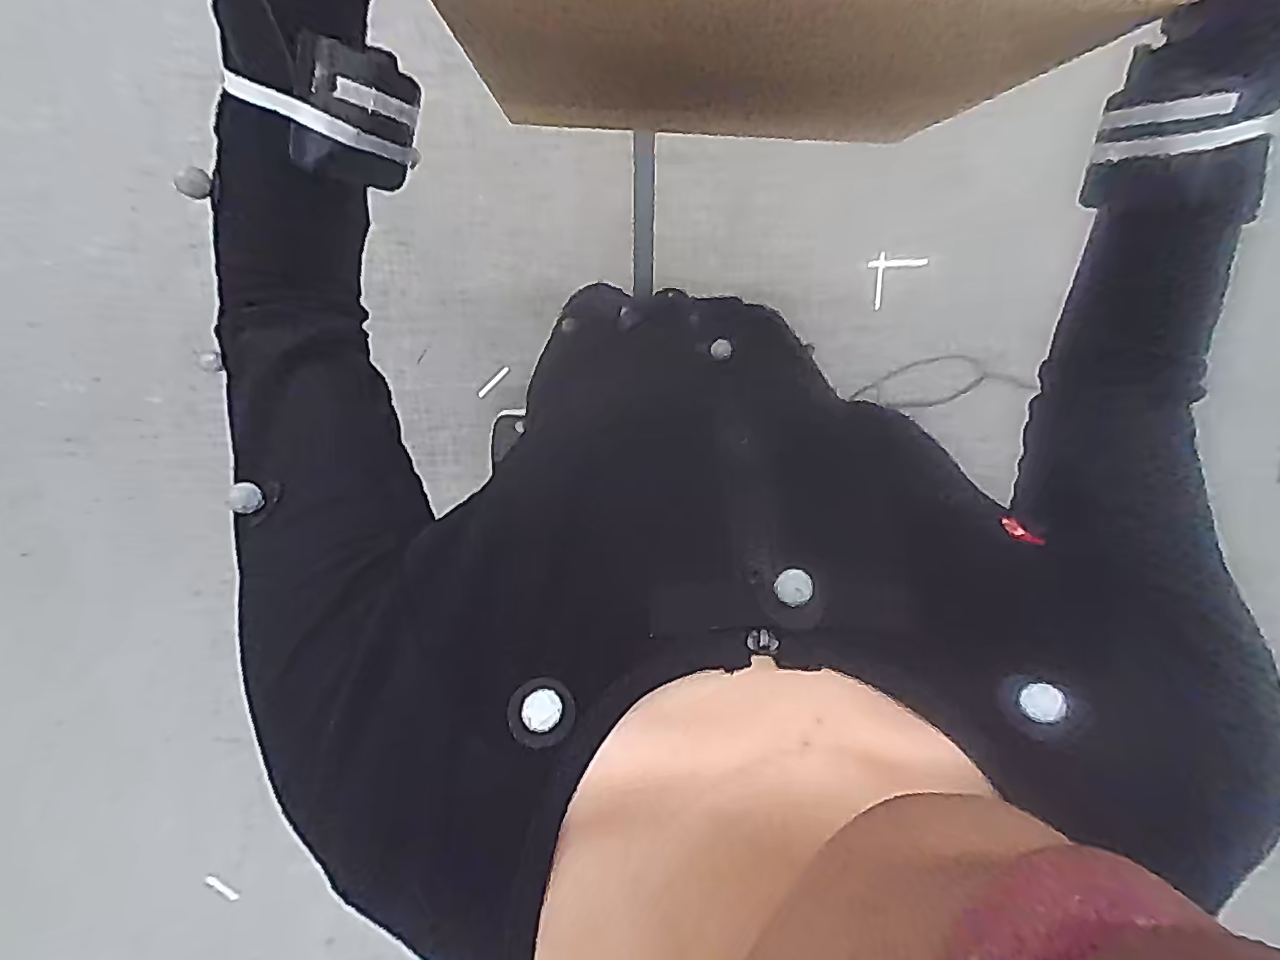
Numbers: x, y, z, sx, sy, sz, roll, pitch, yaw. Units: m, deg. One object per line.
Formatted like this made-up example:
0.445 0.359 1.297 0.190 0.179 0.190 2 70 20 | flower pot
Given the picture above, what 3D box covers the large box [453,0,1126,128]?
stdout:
0.079 -0.454 0.363 0.408 0.320 0.320 -1 111 -4 | large box
